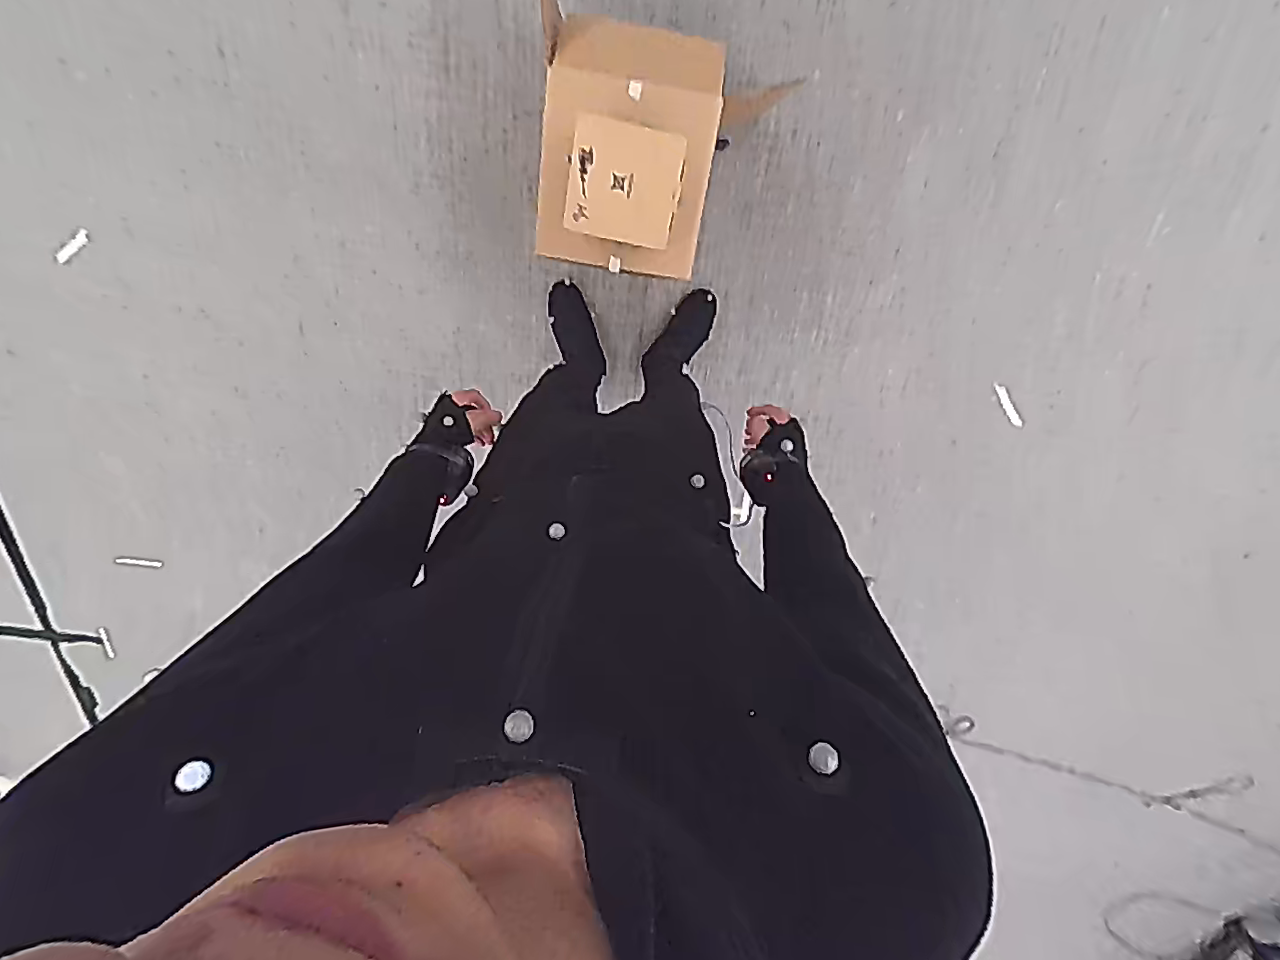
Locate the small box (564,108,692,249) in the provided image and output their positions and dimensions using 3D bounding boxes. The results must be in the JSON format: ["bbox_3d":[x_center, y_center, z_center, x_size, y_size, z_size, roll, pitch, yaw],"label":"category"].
[{"bbox_3d":[-0.022,-0.501,0.913,0.179,0.176,0.168,11,116,-5],"label":"small box"}]
